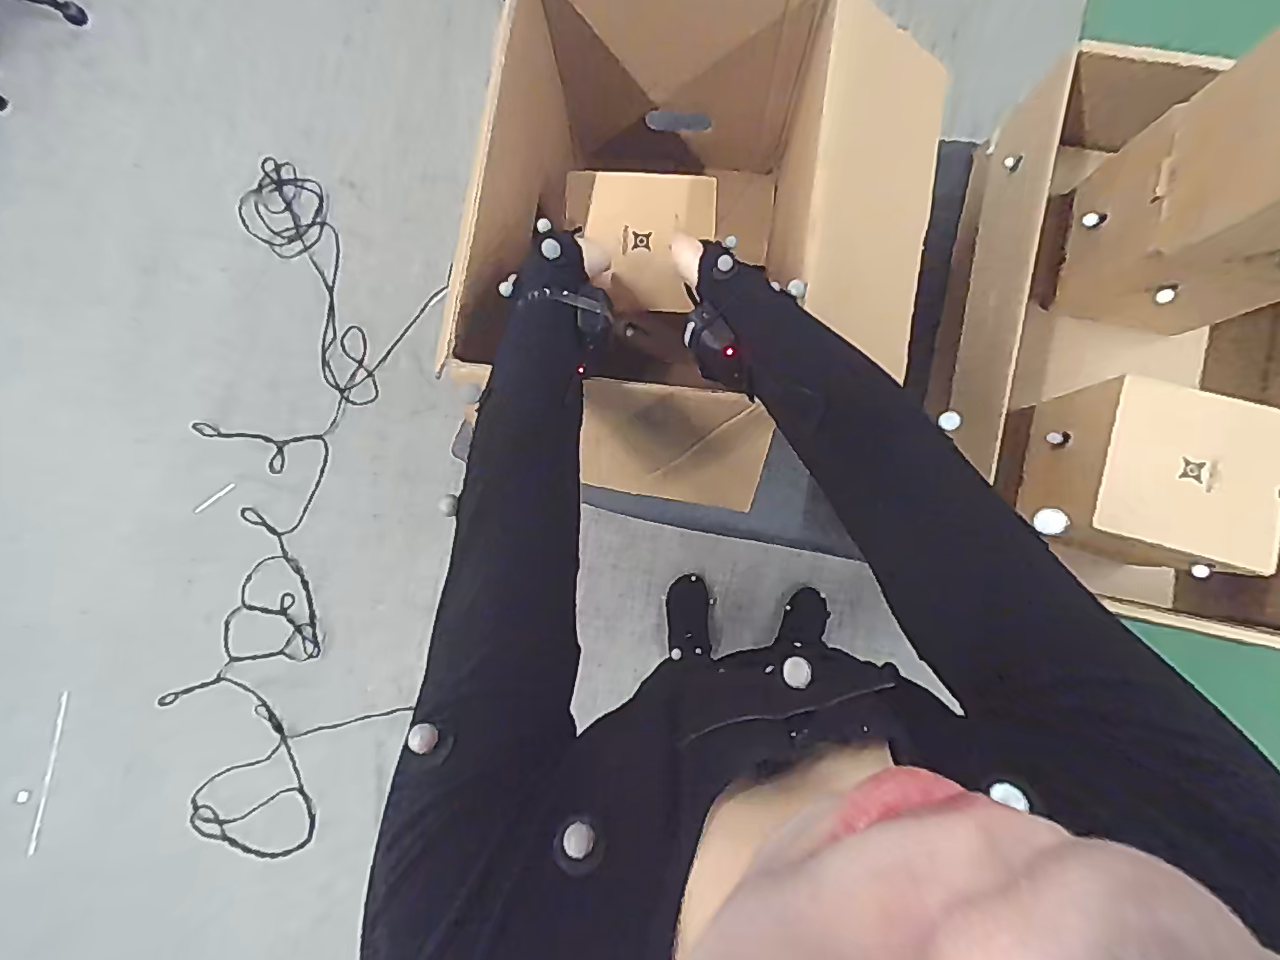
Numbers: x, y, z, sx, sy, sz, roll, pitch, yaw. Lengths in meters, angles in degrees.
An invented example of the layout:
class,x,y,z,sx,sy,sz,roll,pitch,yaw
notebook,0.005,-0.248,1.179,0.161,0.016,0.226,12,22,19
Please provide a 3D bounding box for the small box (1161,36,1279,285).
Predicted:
class,x,y,z,sx,sy,sz,roll,pitch,yaw
small box,0.620,-0.296,0.472,0.168,0.176,0.179,12,88,4
